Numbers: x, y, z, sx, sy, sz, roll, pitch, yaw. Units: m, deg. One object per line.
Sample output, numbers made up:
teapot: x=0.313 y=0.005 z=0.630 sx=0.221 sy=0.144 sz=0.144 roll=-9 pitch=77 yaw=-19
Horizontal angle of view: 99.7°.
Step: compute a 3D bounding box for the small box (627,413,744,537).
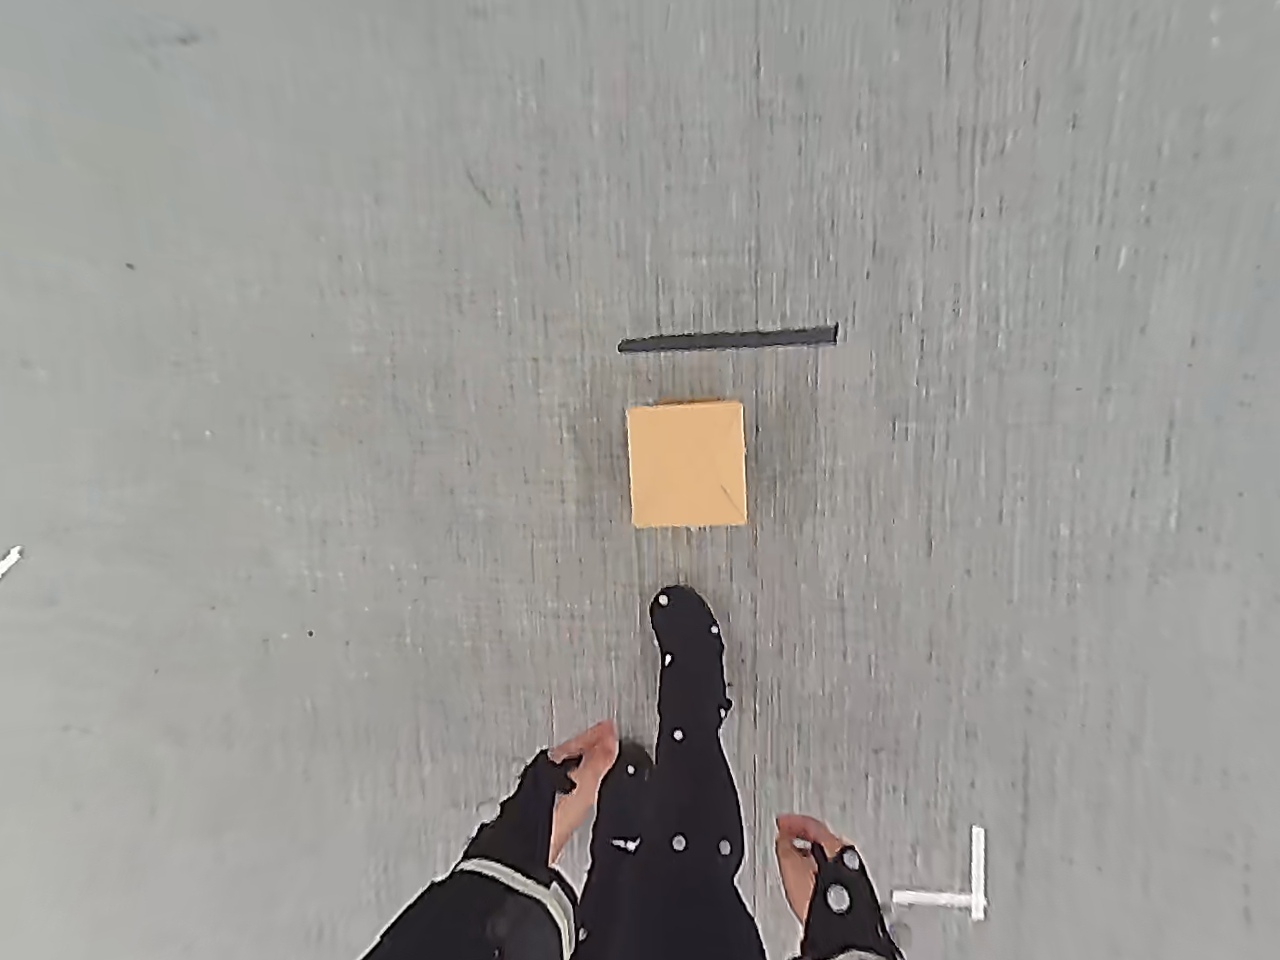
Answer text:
small box: x=0.073 y=-0.015 z=0.856 sx=0.168 sy=0.176 sz=0.179 roll=-2 pitch=95 yaw=7
